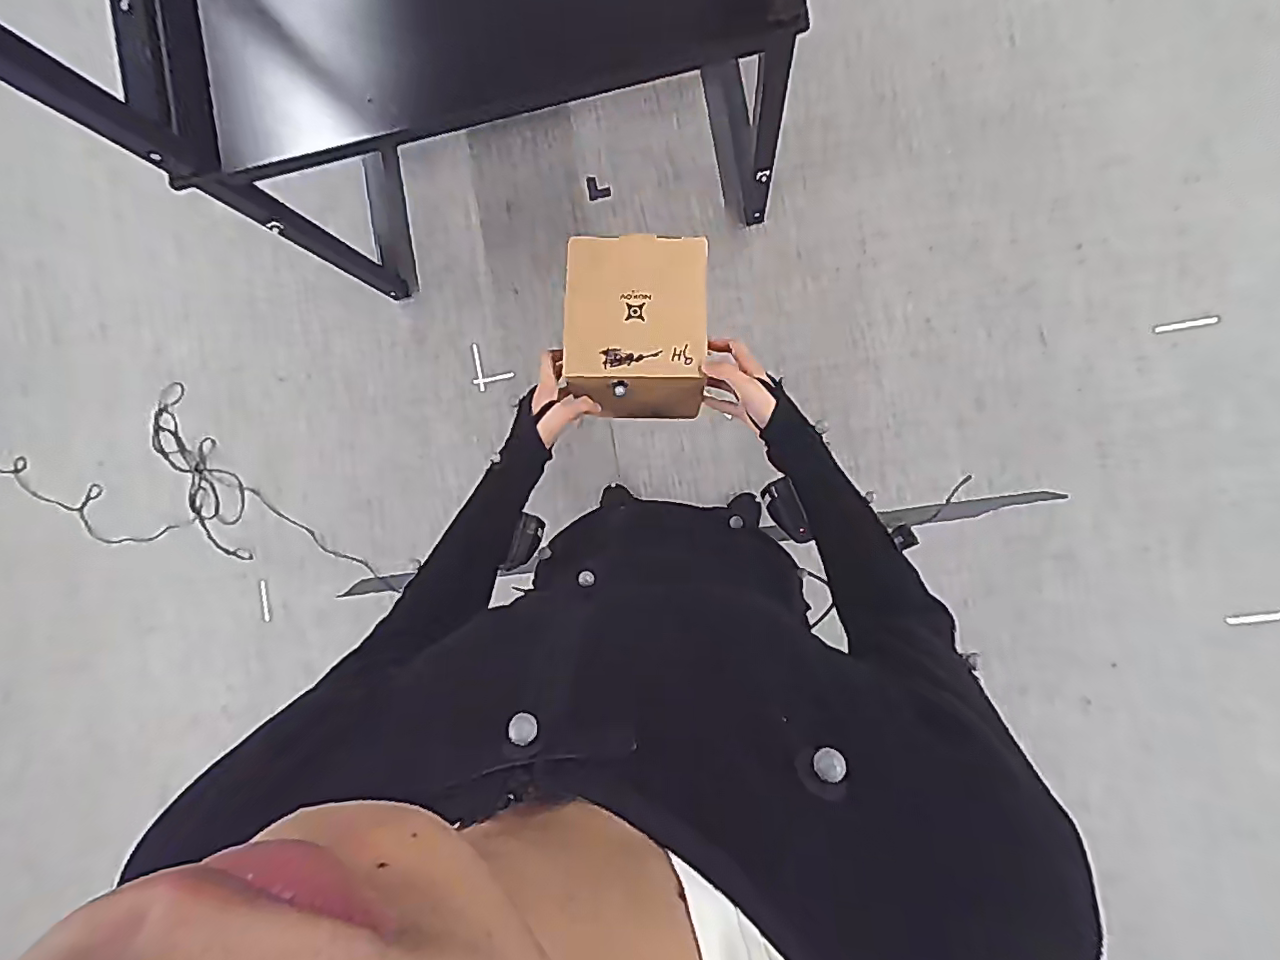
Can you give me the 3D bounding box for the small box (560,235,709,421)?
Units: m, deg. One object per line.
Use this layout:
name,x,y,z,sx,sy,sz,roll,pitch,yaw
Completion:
small box,-0.003,-0.187,0.696,0.168,0.176,0.179,2,80,3
